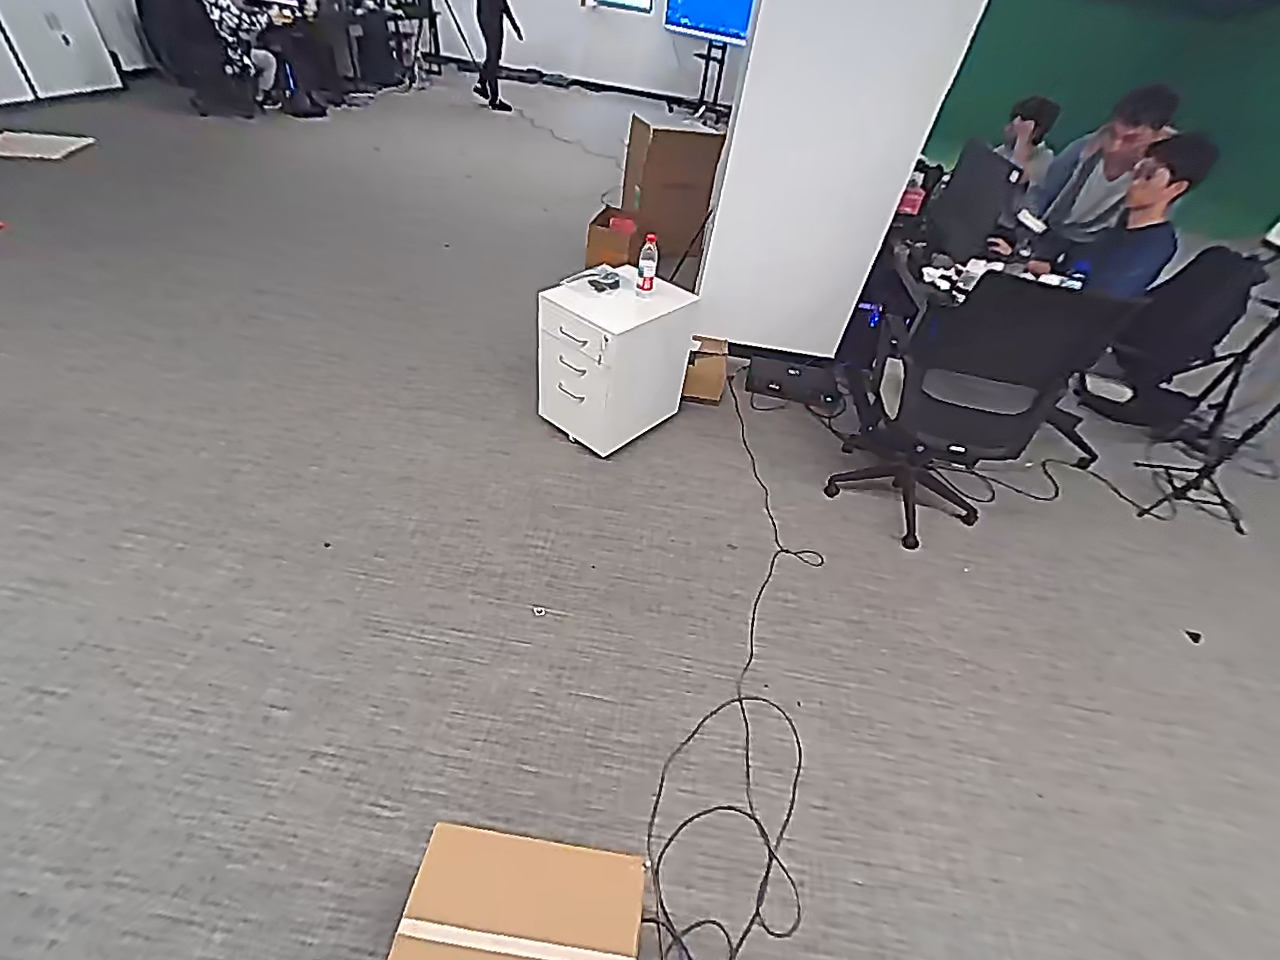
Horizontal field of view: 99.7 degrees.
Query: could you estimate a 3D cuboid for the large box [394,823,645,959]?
[{"bbox_3d":[-0.221,0.893,1.010,0.408,0.320,0.320,10,42,1],"label":"large box"}]
